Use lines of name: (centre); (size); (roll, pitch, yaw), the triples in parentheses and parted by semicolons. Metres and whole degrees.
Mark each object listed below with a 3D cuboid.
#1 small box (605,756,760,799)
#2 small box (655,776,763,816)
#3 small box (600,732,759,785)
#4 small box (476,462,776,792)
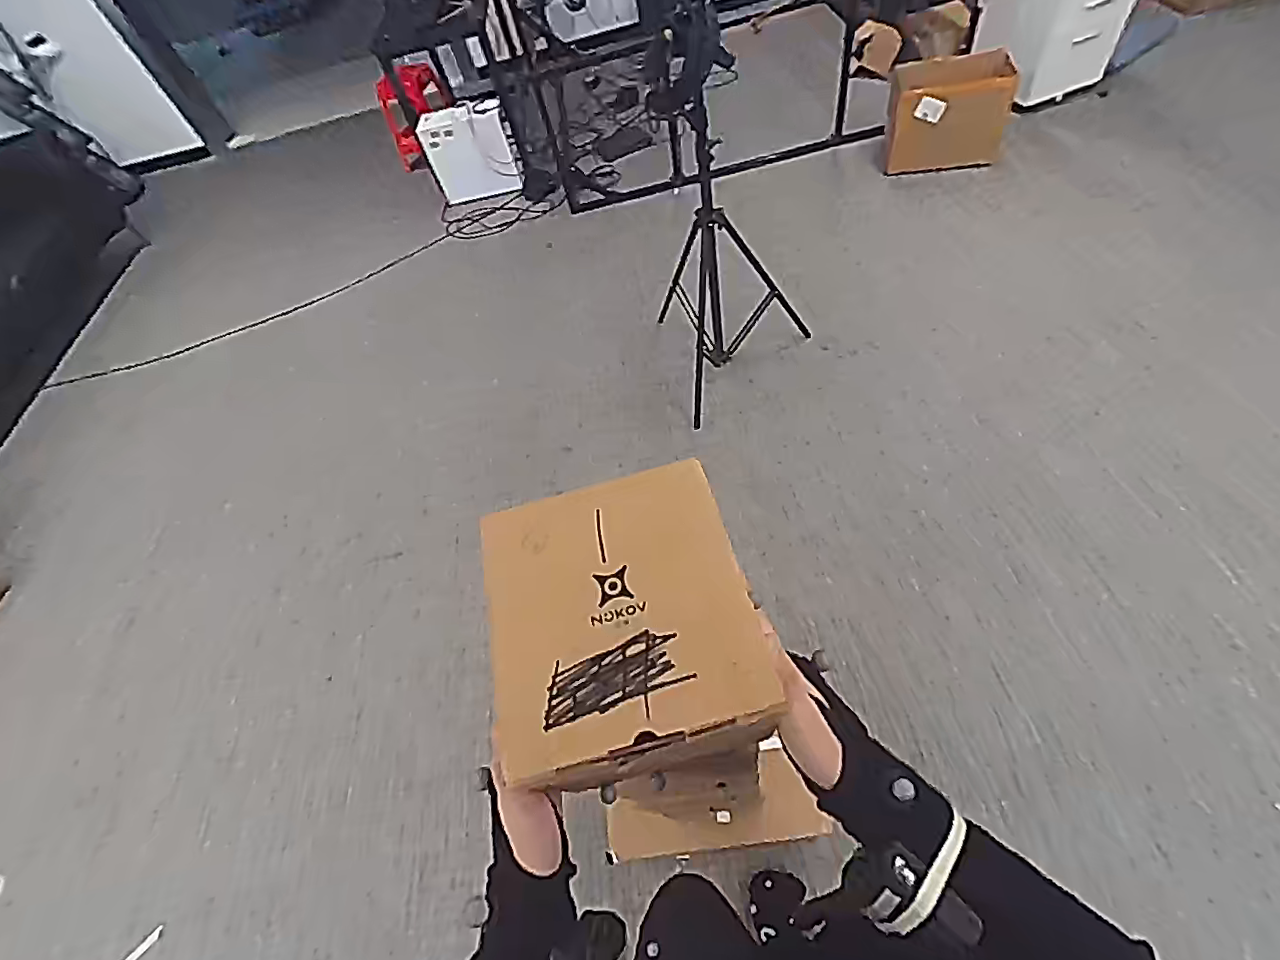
small box: (0.054, 0.312, 0.708); (0.179, 0.176, 0.168); (-10, 55, 6)
small box: (0.116, 0.496, 0.973); (0.179, 0.176, 0.168); (-12, 56, 3)
small box: (0.025, 0.221, 0.577); (0.179, 0.176, 0.168); (-9, 55, 7)
small box: (-0.008, 0.119, 0.410); (0.168, 0.176, 0.179); (-16, 58, -1)
